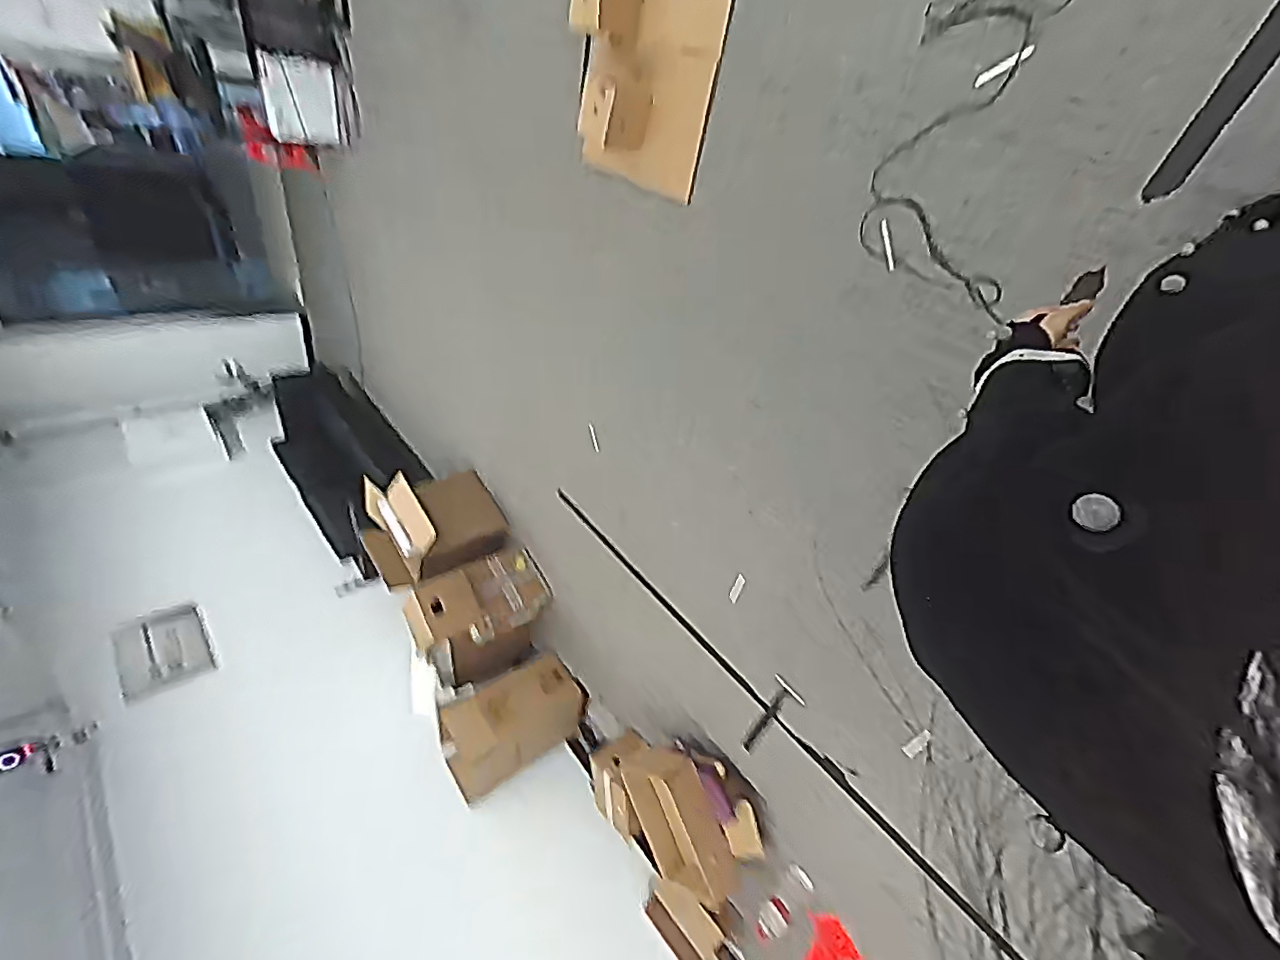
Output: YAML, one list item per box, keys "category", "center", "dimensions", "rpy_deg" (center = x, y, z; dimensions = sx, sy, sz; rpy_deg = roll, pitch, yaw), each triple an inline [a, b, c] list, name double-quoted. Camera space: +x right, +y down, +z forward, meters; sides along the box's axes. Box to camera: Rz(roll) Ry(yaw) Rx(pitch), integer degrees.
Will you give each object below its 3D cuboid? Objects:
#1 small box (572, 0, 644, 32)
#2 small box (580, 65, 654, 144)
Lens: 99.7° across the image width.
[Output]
- category: "small box"
  center: [-0.096, -1.566, 1.727]
  dimensions: [0.168, 0.176, 0.179]
  rpy_deg: [38, 133, 35]
- category: "small box"
  center: [-0.077, -1.271, 1.840]
  dimensions: [0.168, 0.176, 0.179]
  rpy_deg: [48, 140, 24]
